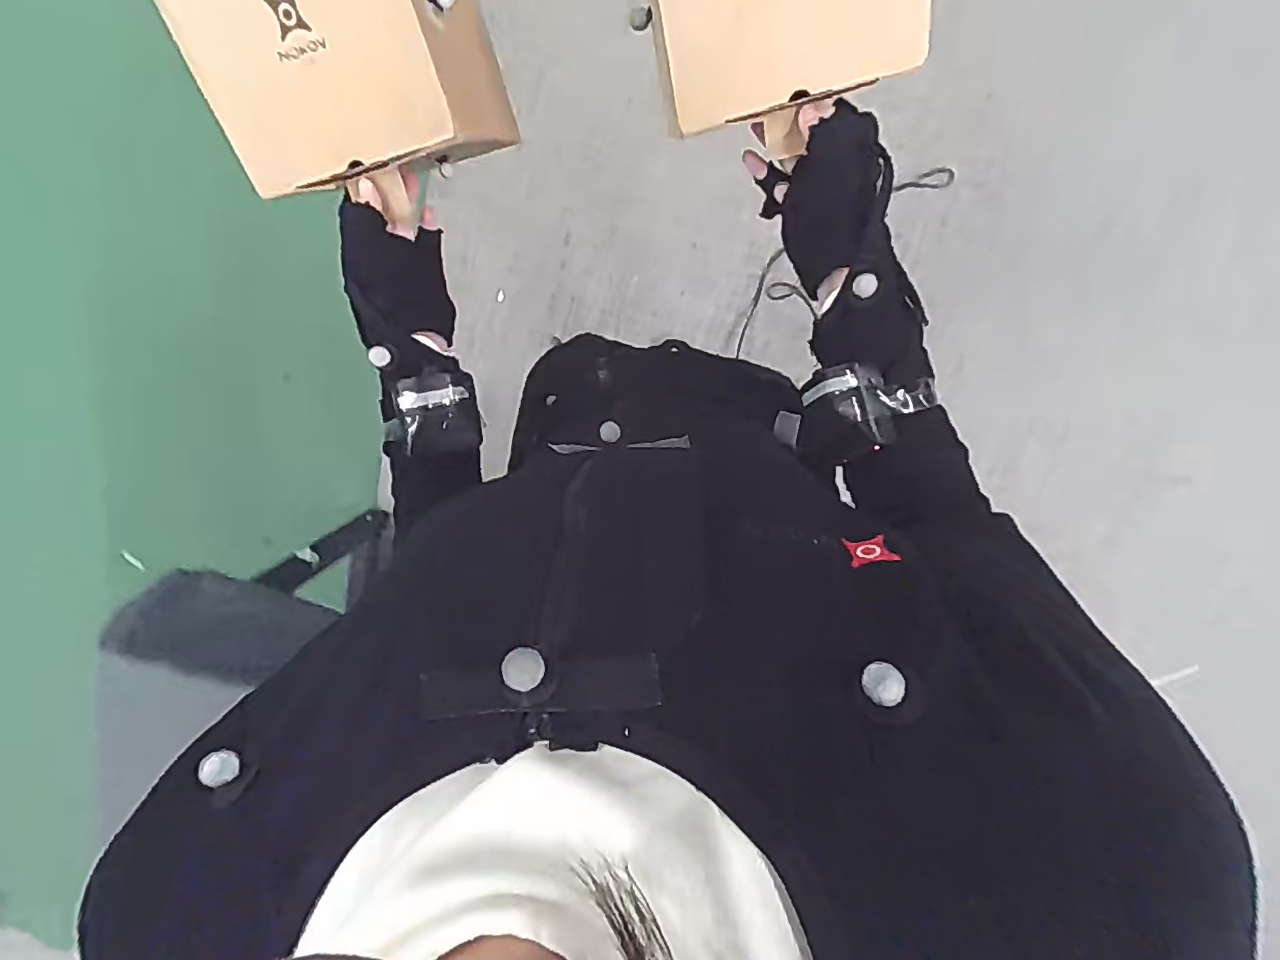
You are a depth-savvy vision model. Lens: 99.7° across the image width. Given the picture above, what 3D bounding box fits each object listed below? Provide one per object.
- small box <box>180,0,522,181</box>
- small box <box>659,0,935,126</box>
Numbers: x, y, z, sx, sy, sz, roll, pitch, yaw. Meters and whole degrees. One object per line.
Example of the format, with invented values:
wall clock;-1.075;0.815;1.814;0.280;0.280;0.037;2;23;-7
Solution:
small box;-0.208;-0.350;0.415;0.168;0.176;0.179;-9;120;10
small box;0.097;-0.377;0.388;0.168;0.176;0.179;-10;123;7
